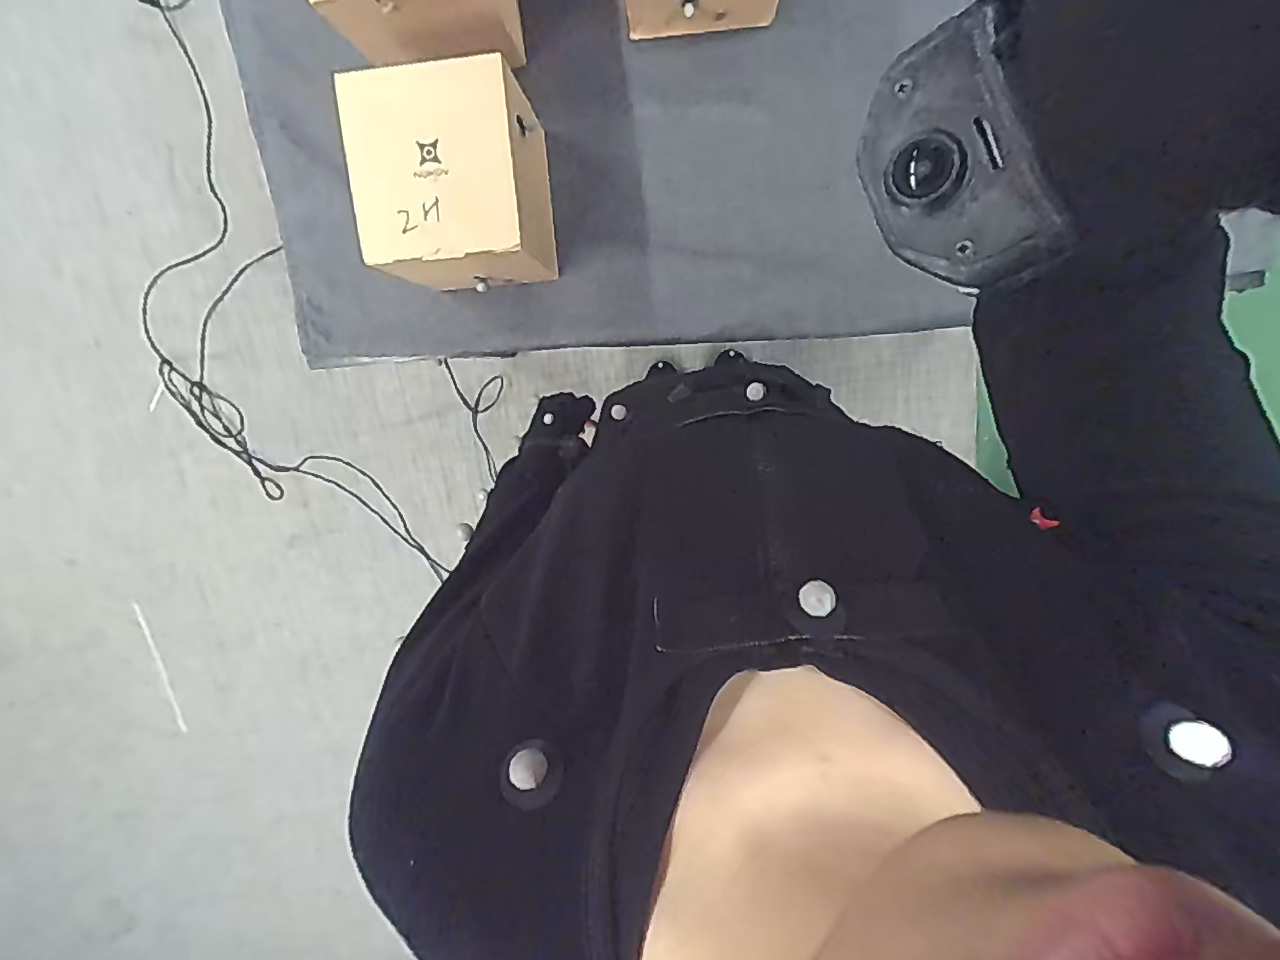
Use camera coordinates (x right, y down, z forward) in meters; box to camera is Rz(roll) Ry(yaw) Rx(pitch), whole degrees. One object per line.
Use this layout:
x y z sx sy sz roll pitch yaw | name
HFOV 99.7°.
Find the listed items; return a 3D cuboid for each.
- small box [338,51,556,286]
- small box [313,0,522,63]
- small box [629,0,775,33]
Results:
-0.196 -0.325 0.601 0.168 0.176 0.179 -4 101 5 | small box
-0.229 -0.554 0.553 0.168 0.176 0.179 -5 102 5 | small box
0.061 -0.589 0.528 0.168 0.176 0.179 -3 103 4 | small box
